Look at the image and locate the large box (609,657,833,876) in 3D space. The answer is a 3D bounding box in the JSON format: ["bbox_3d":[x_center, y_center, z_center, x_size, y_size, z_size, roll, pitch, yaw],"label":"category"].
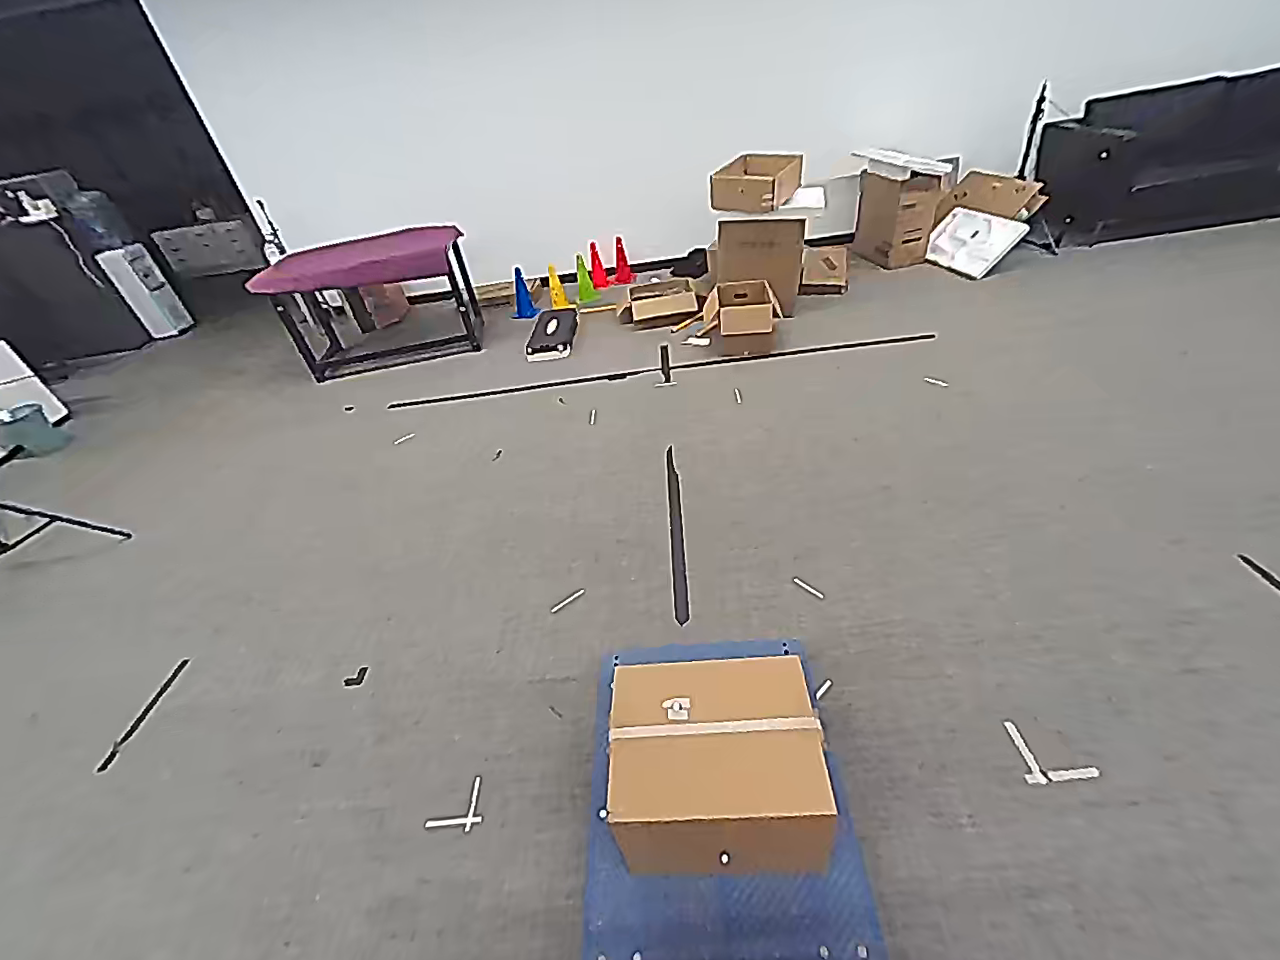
[{"bbox_3d":[0.164,0.617,1.163,0.408,0.320,0.320,-7,37,6],"label":"large box"}]
